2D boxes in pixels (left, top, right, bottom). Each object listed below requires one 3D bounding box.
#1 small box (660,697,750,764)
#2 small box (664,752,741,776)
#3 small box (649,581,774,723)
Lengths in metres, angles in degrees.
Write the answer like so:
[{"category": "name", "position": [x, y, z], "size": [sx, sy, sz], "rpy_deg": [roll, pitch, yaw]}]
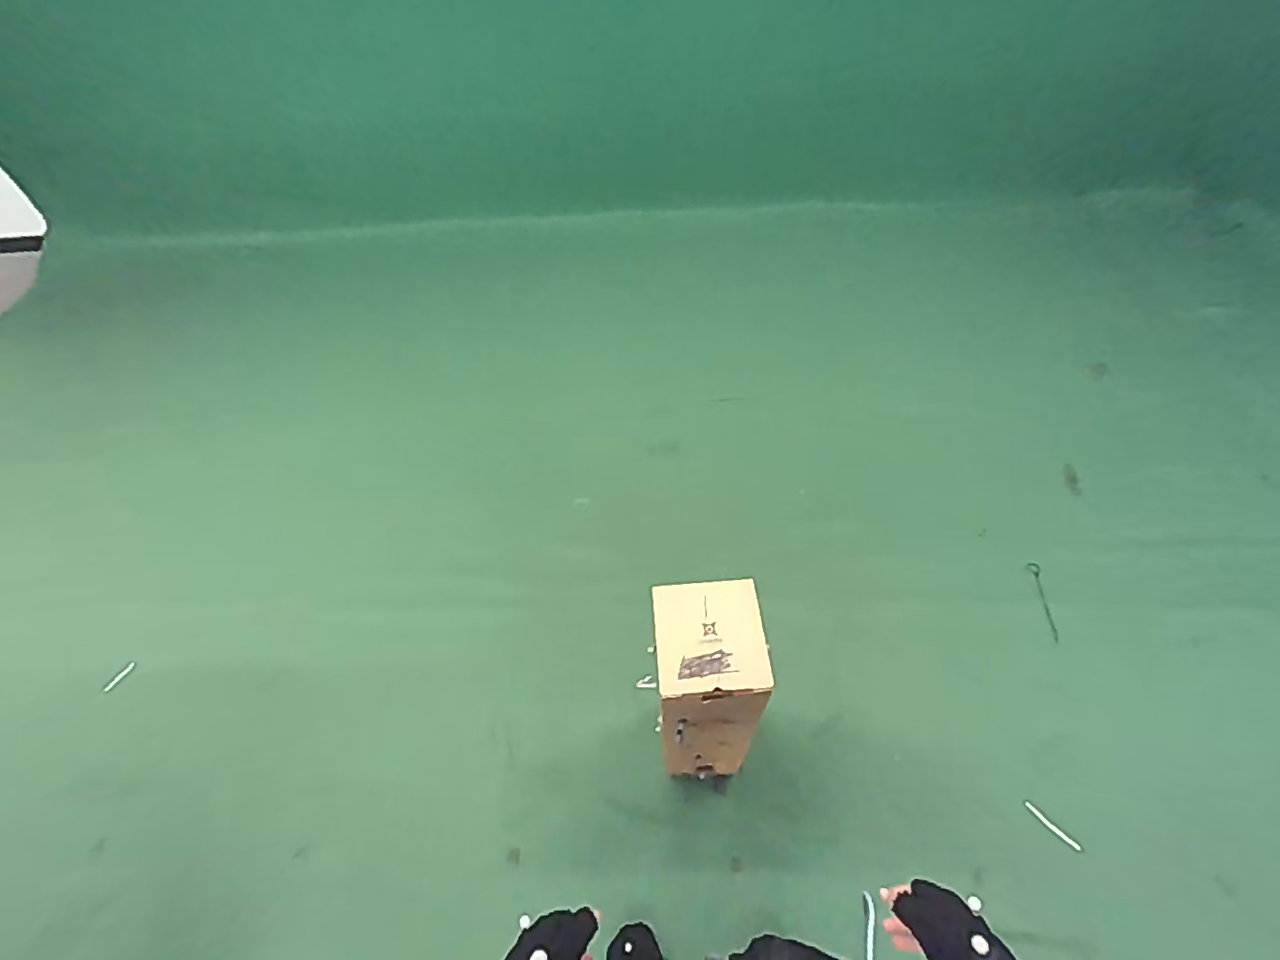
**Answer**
[{"category": "small box", "position": [0.128, 0.485, 1.142], "size": [0.168, 0.176, 0.179], "rpy_deg": [-4, 54, 1]}, {"category": "small box", "position": [0.138, 0.583, 1.271], "size": [0.168, 0.176, 0.179], "rpy_deg": [-2, 53, 2]}, {"category": "small box", "position": [0.109, 0.286, 0.880], "size": [0.168, 0.176, 0.179], "rpy_deg": [-7, 54, -2]}]
